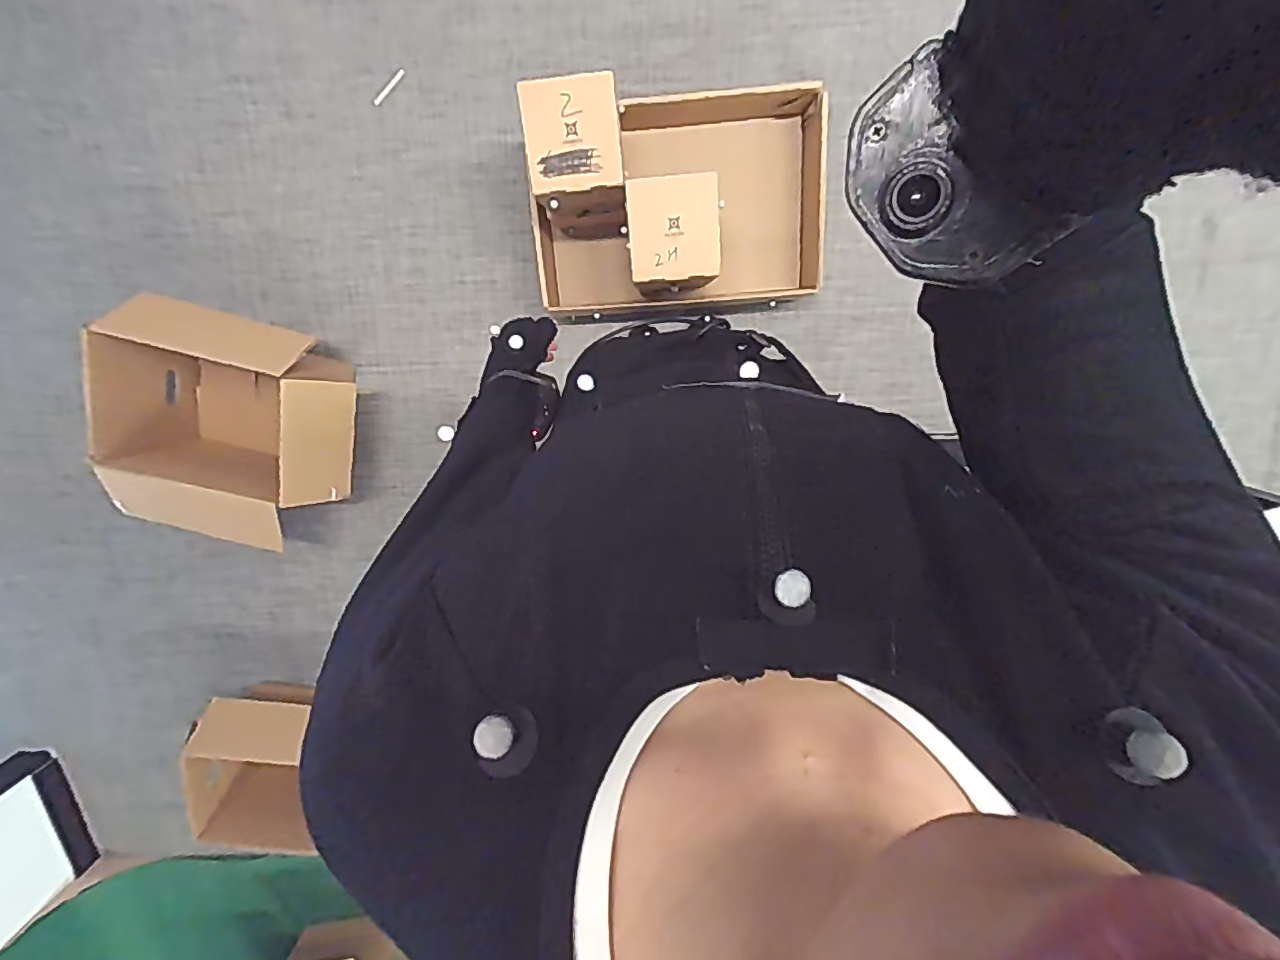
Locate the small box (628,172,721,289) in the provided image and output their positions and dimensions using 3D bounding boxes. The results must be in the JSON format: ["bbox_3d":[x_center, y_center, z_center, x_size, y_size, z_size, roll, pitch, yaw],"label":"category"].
[{"bbox_3d":[0.064,-0.472,1.046,0.168,0.176,0.179,-4,106,2],"label":"small box"}]
